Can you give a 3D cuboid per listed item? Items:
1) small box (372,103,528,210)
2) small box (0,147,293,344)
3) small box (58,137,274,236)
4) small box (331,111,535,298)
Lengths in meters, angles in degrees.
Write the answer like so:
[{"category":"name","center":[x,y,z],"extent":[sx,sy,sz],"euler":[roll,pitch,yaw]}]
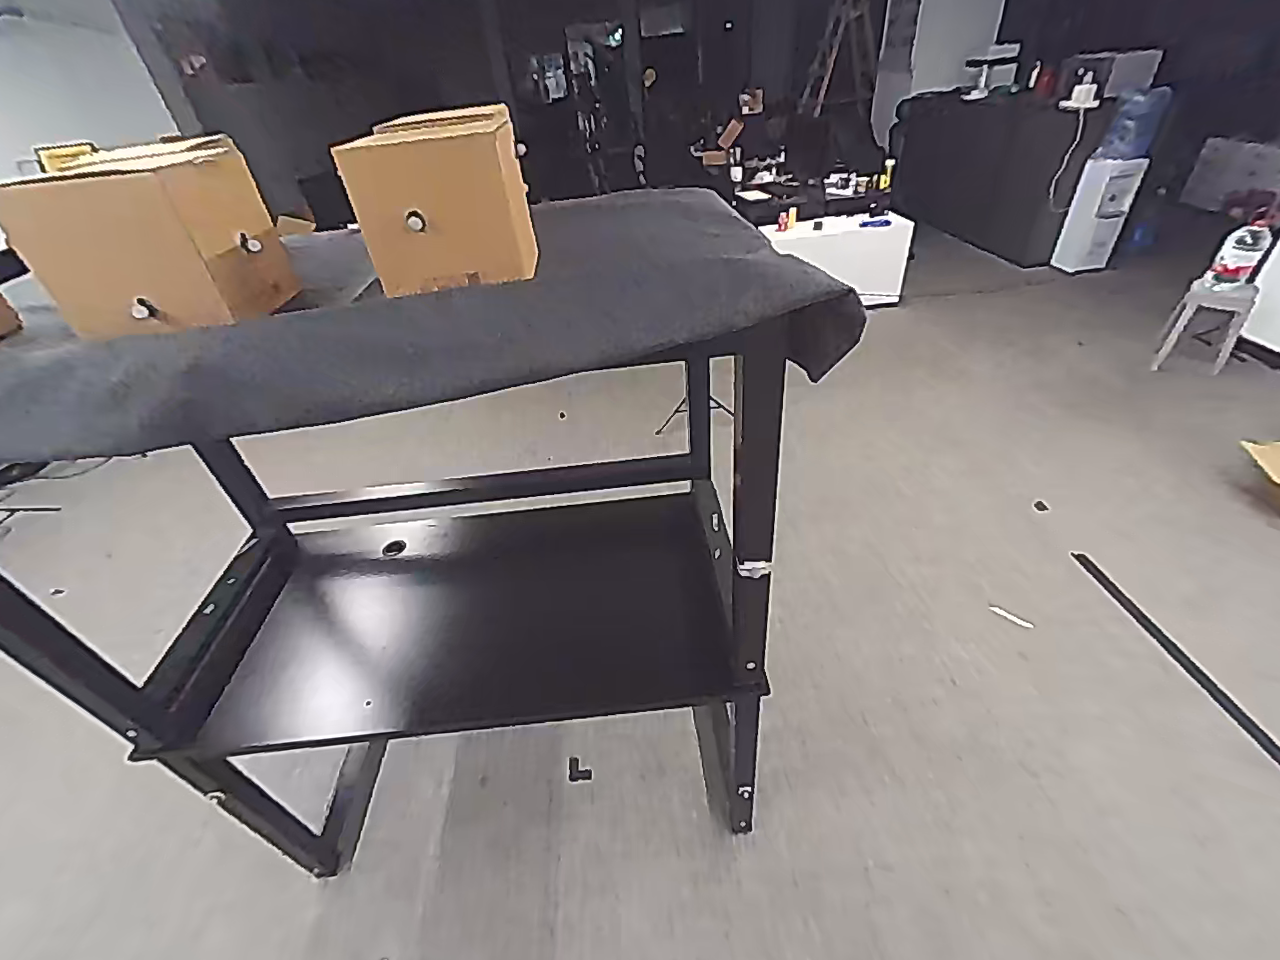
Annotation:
[{"category":"small box","center":[-0.291,-0.494,0.873],"extent":[0.179,0.176,0.168],"euler":[-7,38,0]},{"category":"small box","center":[-0.545,-0.270,0.620],"extent":[0.179,0.176,0.168],"euler":[-7,36,-1]},{"category":"small box","center":[-0.719,-0.429,0.854],"extent":[0.168,0.176,0.179],"euler":[-12,38,-5]},{"category":"small box","center":[-0.226,-0.327,0.648],"extent":[0.168,0.176,0.179],"euler":[-8,37,-2]}]
